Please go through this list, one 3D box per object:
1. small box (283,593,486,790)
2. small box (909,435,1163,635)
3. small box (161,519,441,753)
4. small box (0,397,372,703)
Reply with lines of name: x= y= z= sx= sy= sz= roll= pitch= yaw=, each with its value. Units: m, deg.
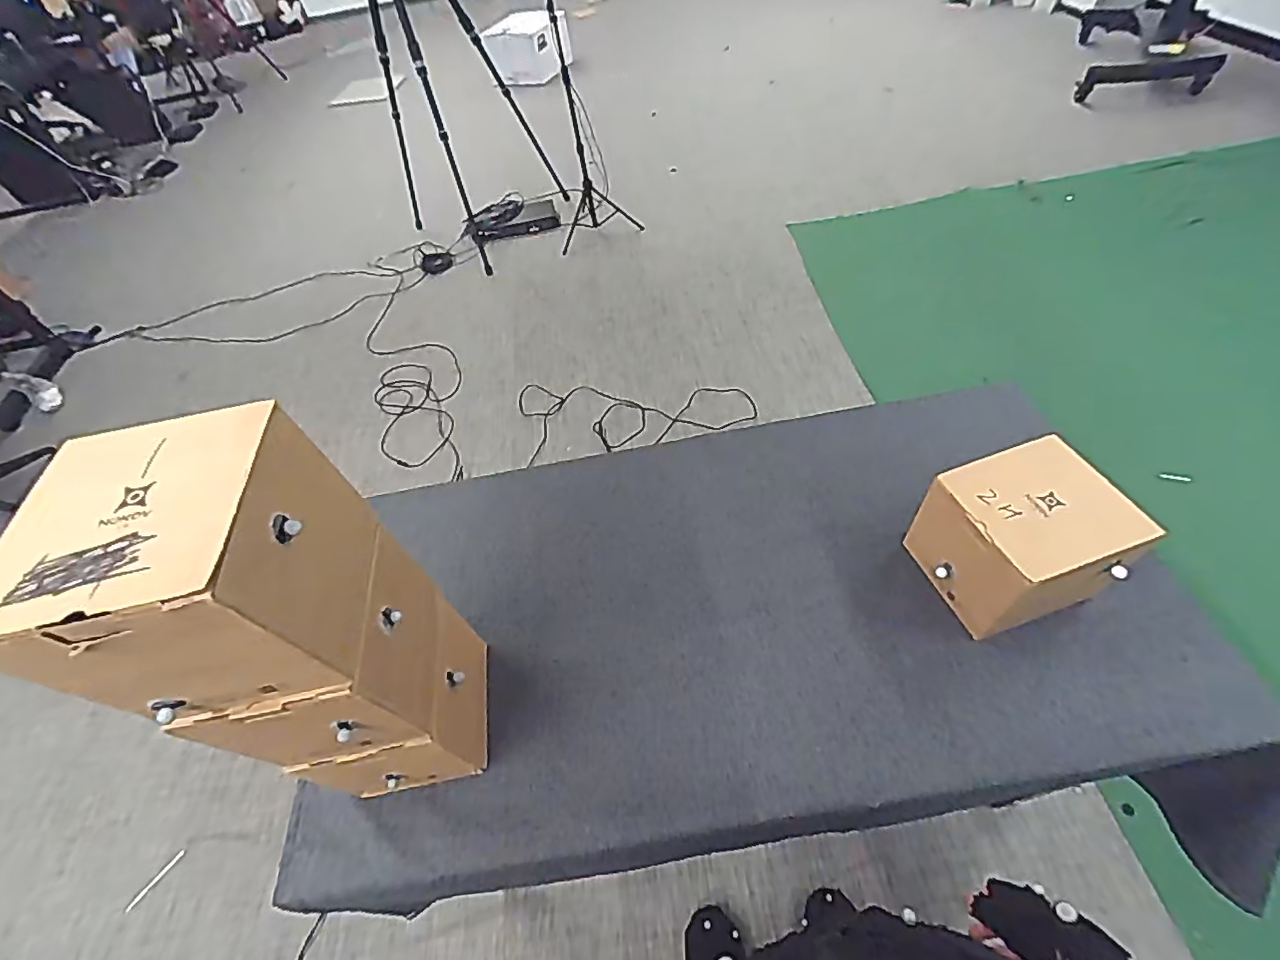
small box: x=-0.303 y=0.271 z=0.687 sx=0.168 sy=0.176 sz=0.179 roll=-12 pitch=52 yaw=0
small box: x=0.489 y=0.075 z=0.704 sx=0.179 sy=0.176 sz=0.168 roll=-18 pitch=52 yaw=-4
small box: x=-0.321 y=0.169 z=0.561 sx=0.168 sy=0.176 sz=0.179 roll=-11 pitch=52 yaw=-1
small box: x=-0.342 y=0.065 z=0.436 sx=0.168 sy=0.176 sz=0.179 roll=-12 pitch=52 yaw=-2
